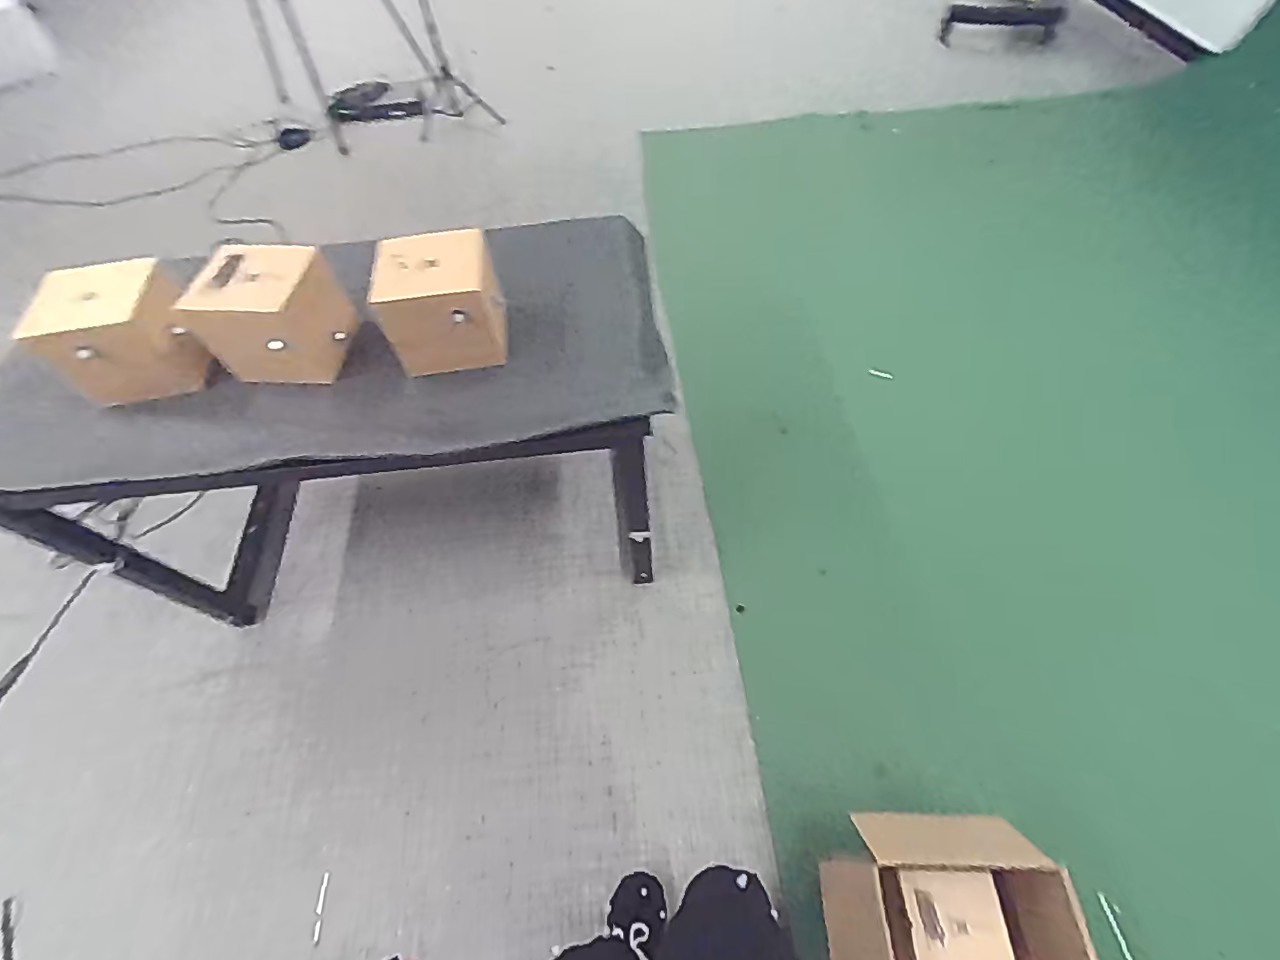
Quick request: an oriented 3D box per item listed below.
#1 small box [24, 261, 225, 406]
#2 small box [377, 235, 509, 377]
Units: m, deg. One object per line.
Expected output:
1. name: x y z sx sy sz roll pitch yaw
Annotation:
1. small box: -0.885 -0.254 0.954 0.179 0.176 0.168 -11 58 -4
2. small box: -0.334 -0.303 0.958 0.179 0.176 0.168 -8 57 -2
